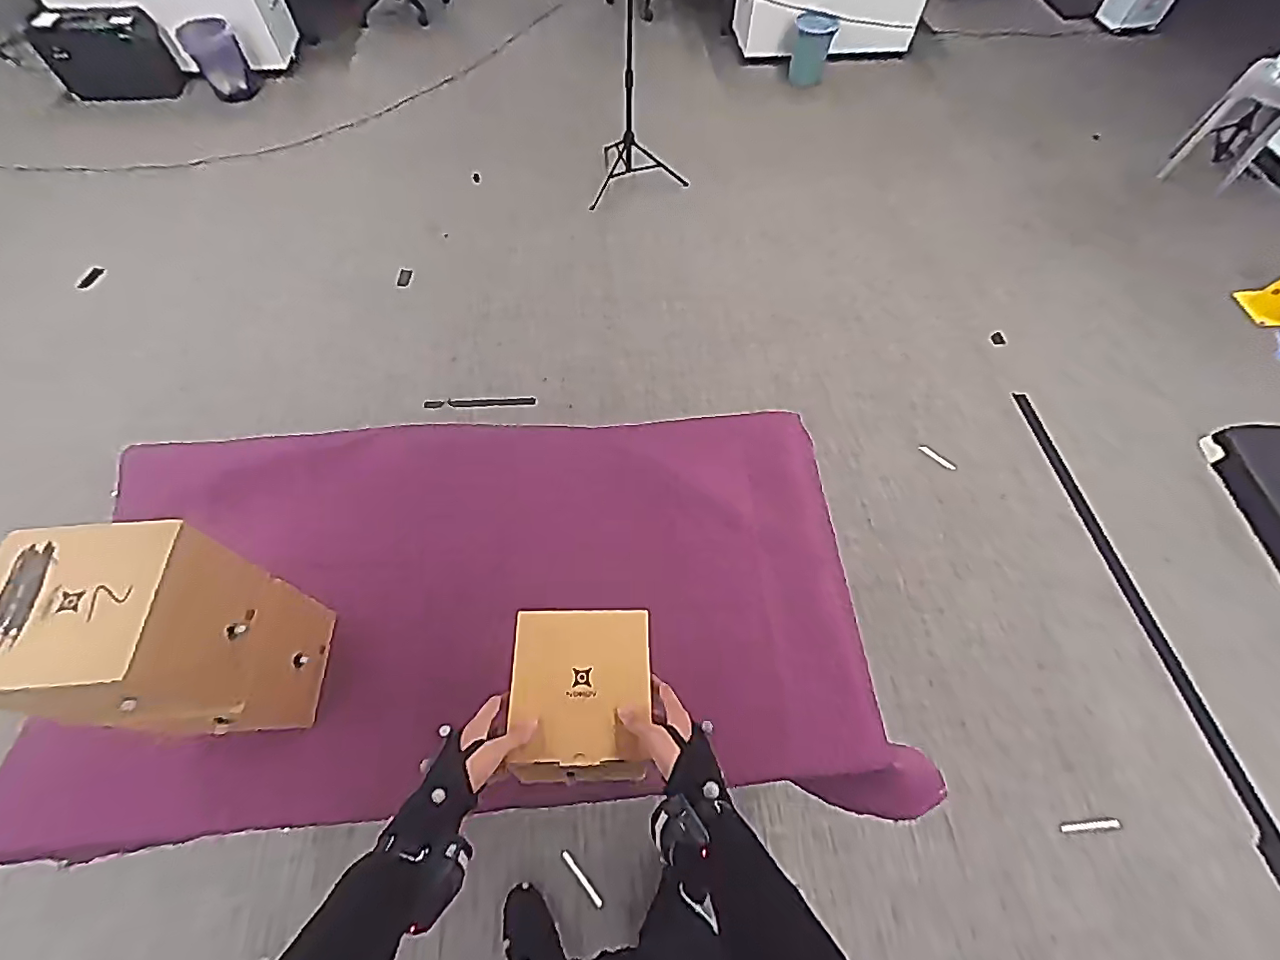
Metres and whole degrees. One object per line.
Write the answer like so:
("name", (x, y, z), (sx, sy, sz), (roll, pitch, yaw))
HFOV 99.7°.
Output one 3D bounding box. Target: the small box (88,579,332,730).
("small box", (-0.554, 0.241, 0.733), (0.179, 0.176, 0.168), (-2, 60, -3))
